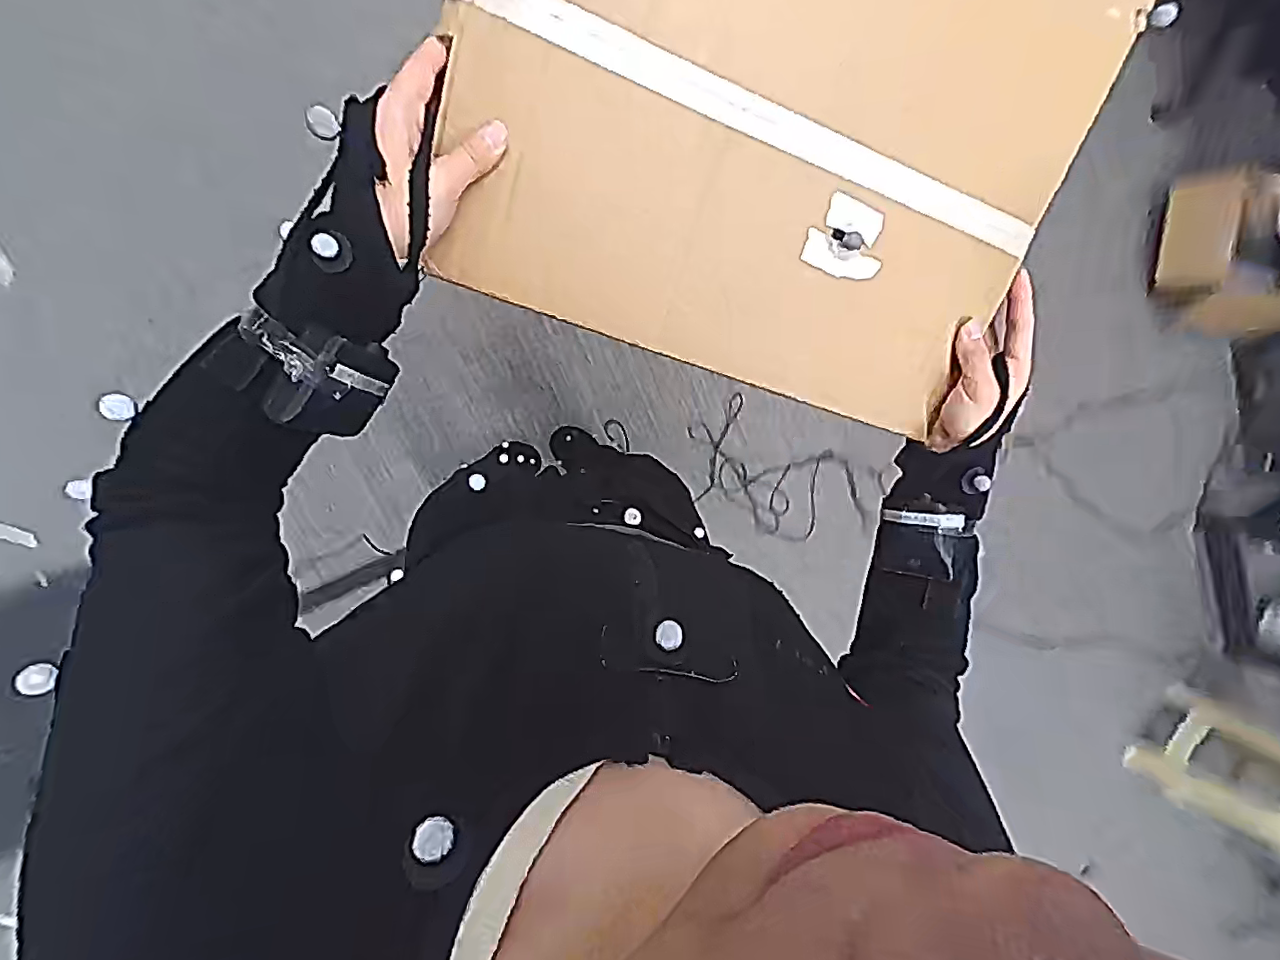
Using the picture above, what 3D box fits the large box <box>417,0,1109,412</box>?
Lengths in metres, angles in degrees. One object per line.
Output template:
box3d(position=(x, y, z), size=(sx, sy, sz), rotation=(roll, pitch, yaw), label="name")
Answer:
box3d(position=(0.058, -0.287, 0.486), size=(0.408, 0.320, 0.320), rotation=(13, 109, -15), label="large box")
